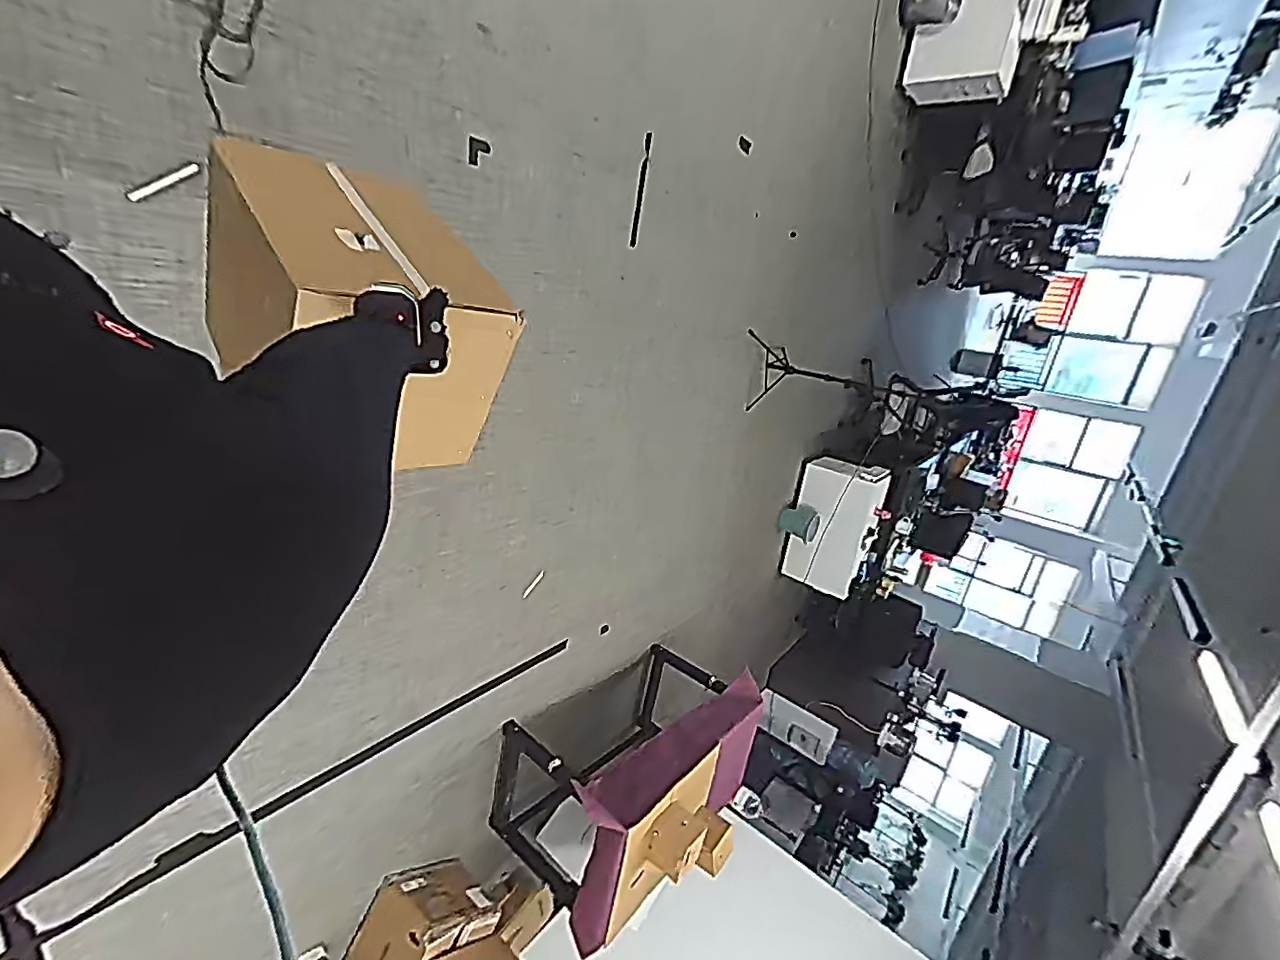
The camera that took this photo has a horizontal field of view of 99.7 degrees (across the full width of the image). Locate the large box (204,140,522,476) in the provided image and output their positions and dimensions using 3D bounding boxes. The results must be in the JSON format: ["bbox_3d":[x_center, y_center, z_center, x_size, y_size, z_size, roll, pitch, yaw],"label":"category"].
[{"bbox_3d":[-0.470,-0.265,0.892,0.320,0.408,0.320,-12,145,-47],"label":"large box"}]
